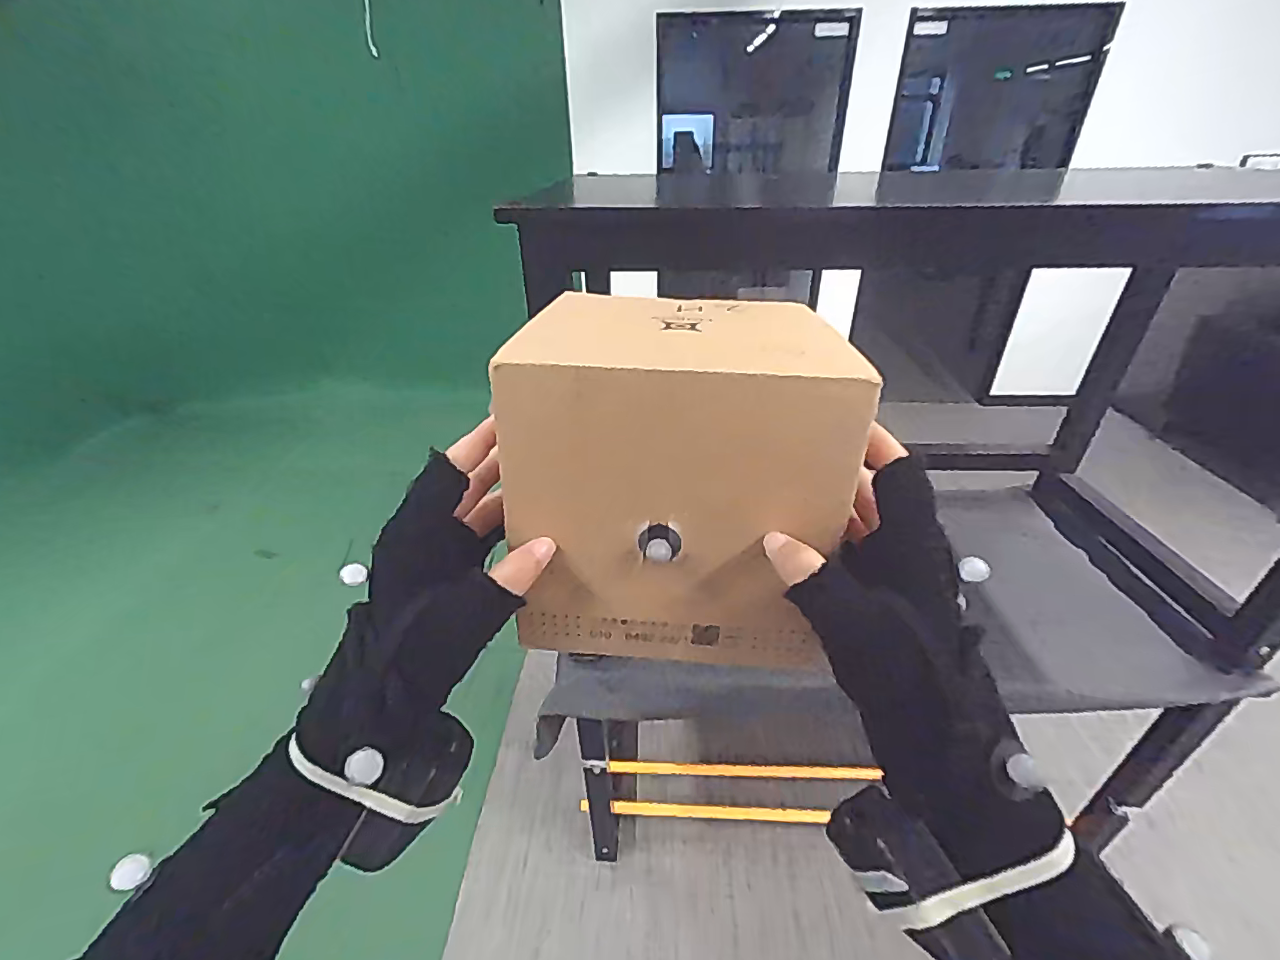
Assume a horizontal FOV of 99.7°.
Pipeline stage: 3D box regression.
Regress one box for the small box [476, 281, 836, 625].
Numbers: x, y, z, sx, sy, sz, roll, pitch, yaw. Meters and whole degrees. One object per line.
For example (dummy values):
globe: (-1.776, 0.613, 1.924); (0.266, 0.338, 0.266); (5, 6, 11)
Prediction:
small box: (0.012, -0.028, 0.349); (0.168, 0.176, 0.179); (4, 27, 3)
